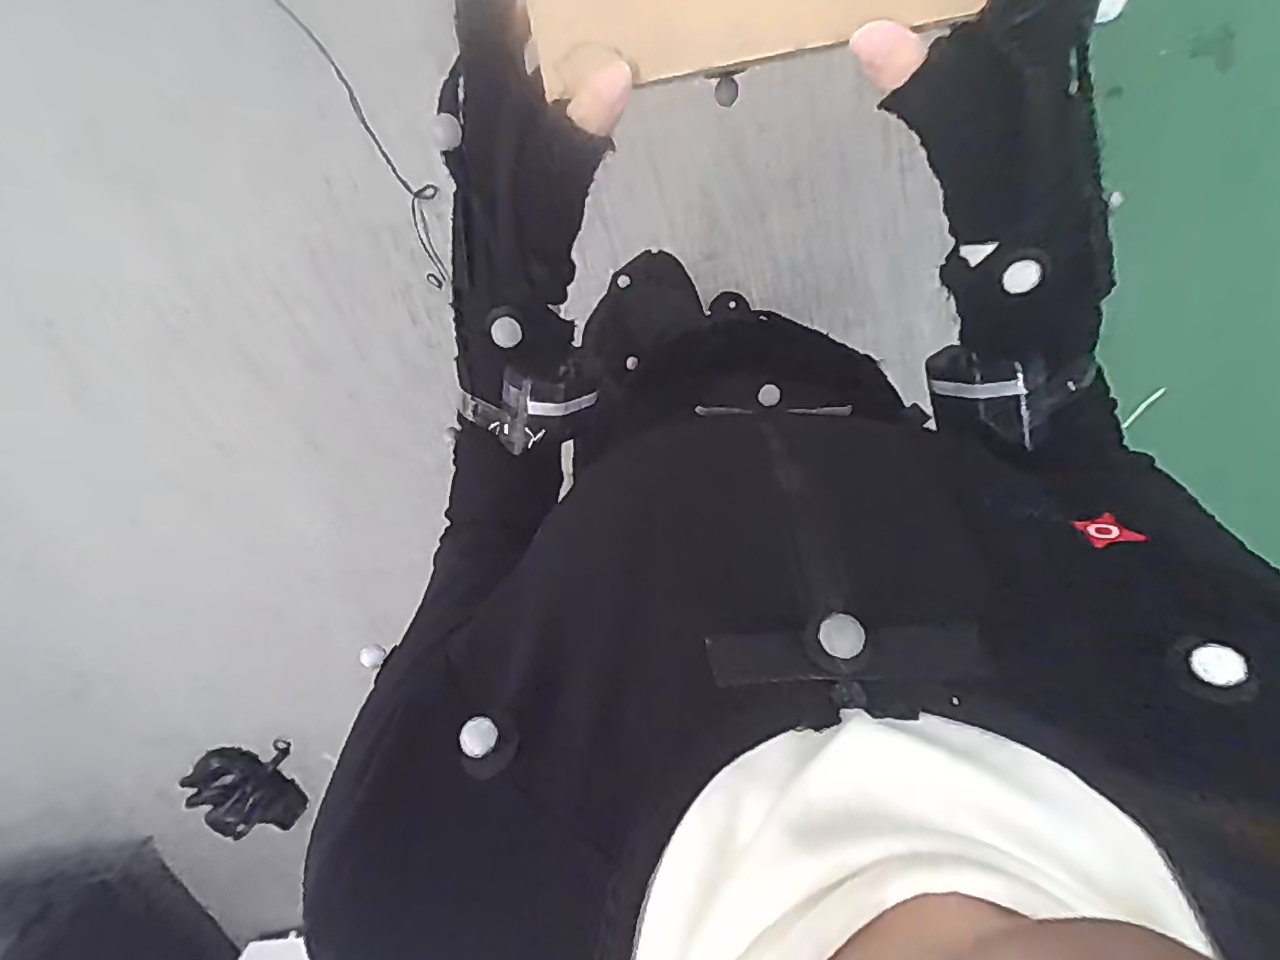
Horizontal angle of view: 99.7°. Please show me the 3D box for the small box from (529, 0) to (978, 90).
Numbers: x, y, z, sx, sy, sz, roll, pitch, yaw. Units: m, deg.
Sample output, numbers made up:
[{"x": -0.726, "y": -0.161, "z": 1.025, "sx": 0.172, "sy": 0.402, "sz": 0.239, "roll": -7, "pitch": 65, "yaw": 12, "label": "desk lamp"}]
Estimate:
[{"x": 0.038, "y": -0.285, "z": 0.231, "sx": 0.179, "sy": 0.176, "sz": 0.168, "roll": -5, "pitch": 126, "yaw": 9, "label": "small box"}]
